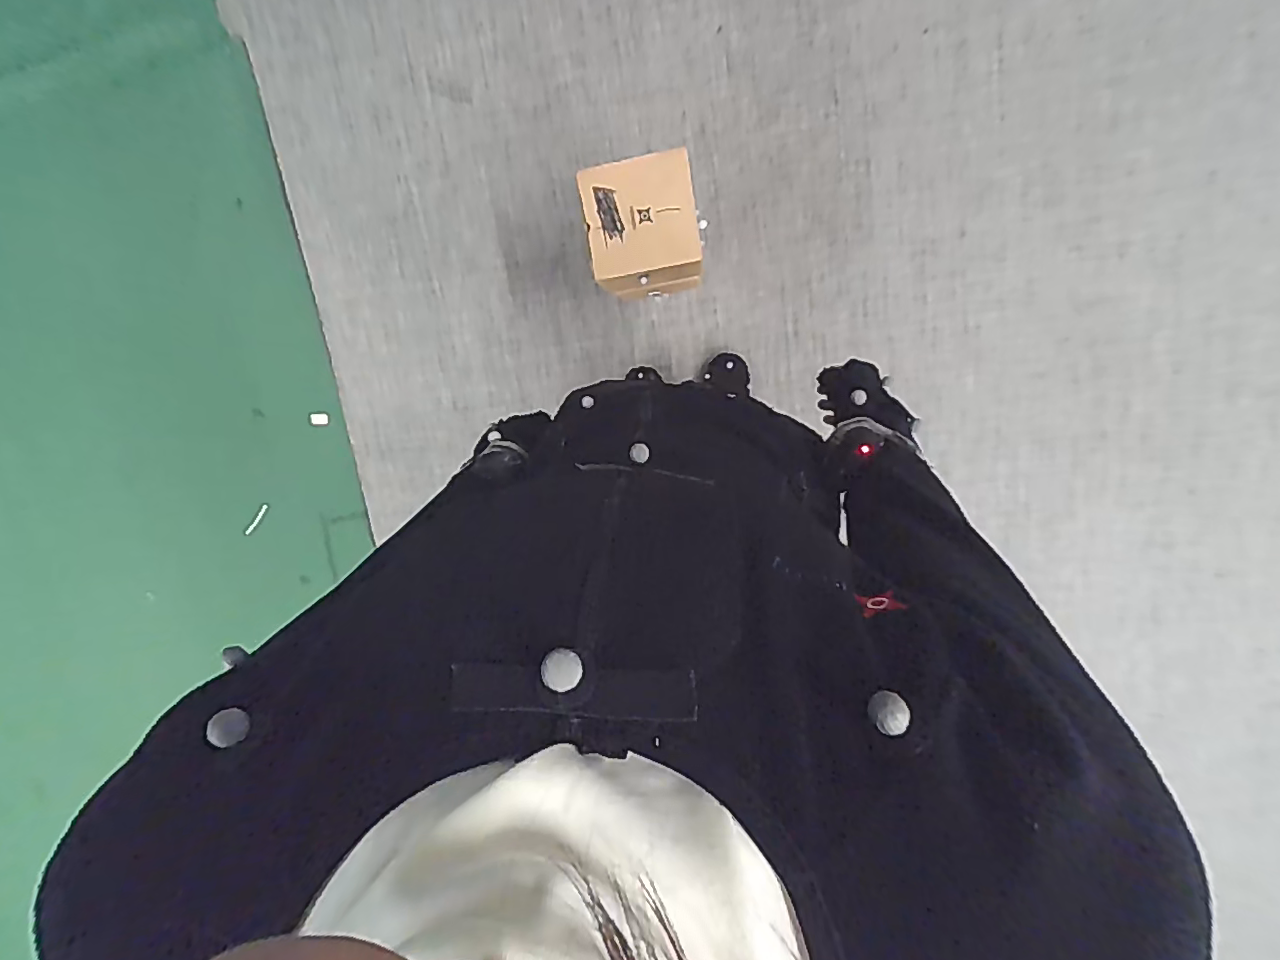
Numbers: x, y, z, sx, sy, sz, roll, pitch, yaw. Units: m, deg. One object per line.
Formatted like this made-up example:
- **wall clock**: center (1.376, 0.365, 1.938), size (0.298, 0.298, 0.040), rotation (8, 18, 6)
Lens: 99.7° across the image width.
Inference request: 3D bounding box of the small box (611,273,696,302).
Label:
- **small box**: center (0.019, -0.464, 1.078), size (0.168, 0.176, 0.179), rotation (-8, 104, 9)

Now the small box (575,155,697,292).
- **small box**: center (0.003, -0.429, 0.935), size (0.179, 0.176, 0.168), rotation (-8, 103, 8)
